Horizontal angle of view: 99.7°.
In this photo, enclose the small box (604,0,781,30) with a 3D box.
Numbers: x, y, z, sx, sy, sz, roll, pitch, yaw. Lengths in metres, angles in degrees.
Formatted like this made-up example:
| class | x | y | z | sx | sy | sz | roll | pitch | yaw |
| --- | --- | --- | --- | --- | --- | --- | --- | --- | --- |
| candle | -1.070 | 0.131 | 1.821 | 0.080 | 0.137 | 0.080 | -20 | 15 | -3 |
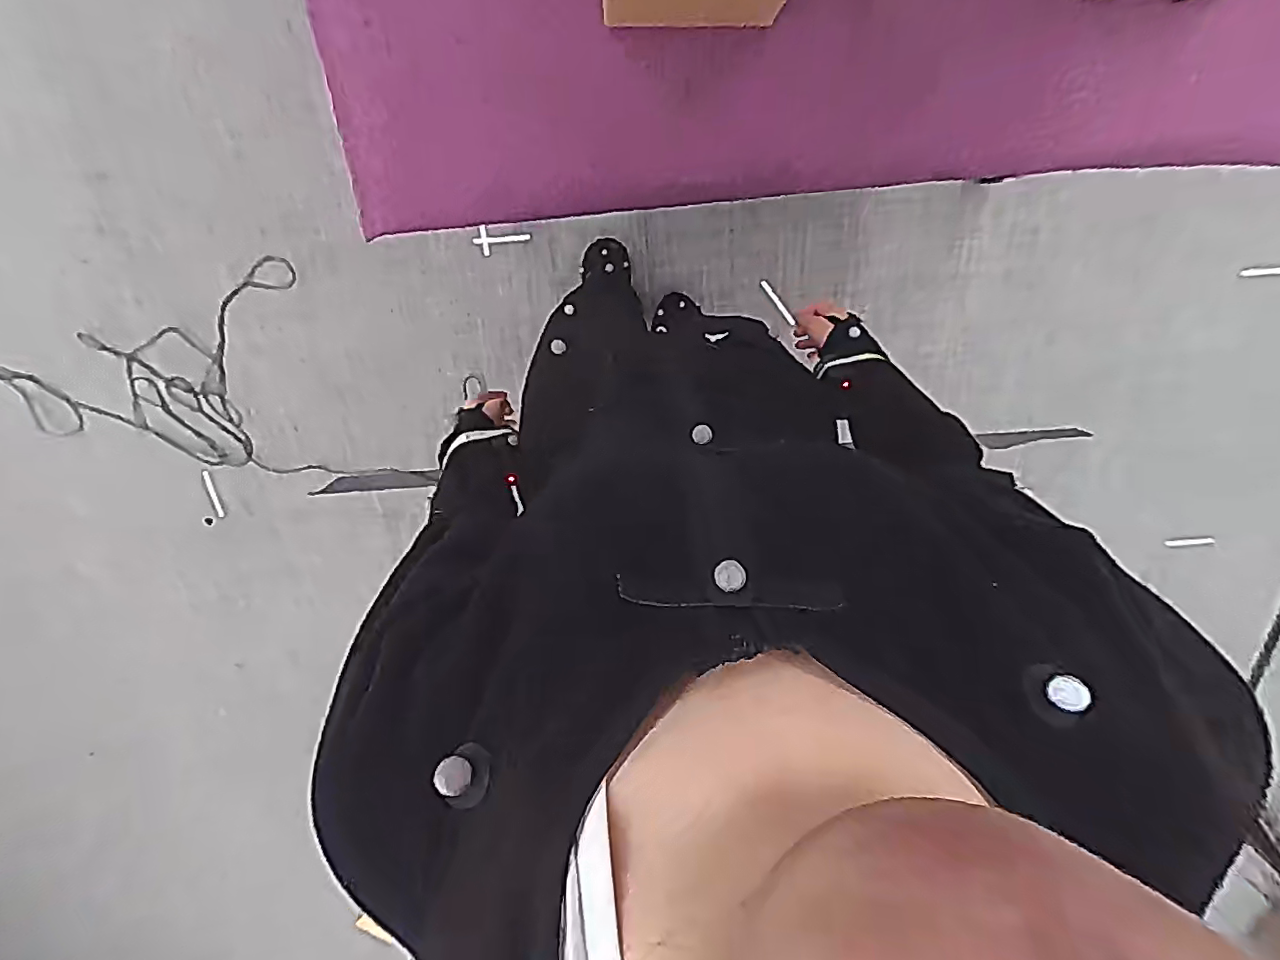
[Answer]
| class | x | y | z | sx | sy | sz | roll | pitch | yaw |
| --- | --- | --- | --- | --- | --- | --- | --- | --- | --- |
| small box | 0.054 | -0.516 | 0.459 | 0.179 | 0.176 | 0.168 | -1 | 112 | -1 |
